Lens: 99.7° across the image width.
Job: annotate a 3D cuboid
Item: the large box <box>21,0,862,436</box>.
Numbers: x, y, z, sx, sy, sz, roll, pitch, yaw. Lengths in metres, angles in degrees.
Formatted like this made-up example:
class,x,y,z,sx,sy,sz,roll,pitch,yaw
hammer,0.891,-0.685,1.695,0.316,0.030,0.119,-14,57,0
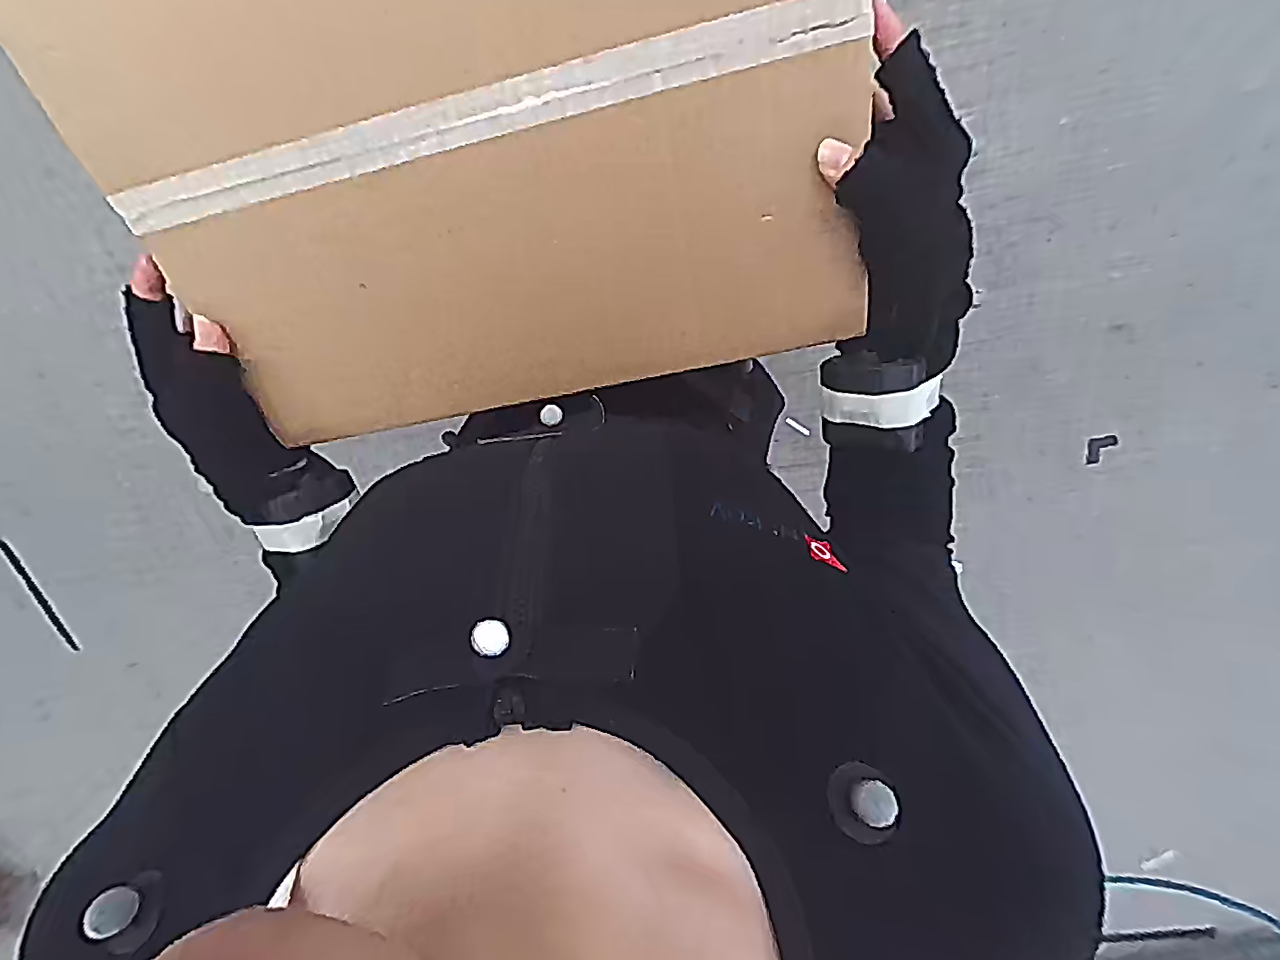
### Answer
class,x,y,z,sx,sy,sz,roll,pitch,yaw
large box,-0.085,-0.271,0.411,0.408,0.320,0.320,-10,124,8
